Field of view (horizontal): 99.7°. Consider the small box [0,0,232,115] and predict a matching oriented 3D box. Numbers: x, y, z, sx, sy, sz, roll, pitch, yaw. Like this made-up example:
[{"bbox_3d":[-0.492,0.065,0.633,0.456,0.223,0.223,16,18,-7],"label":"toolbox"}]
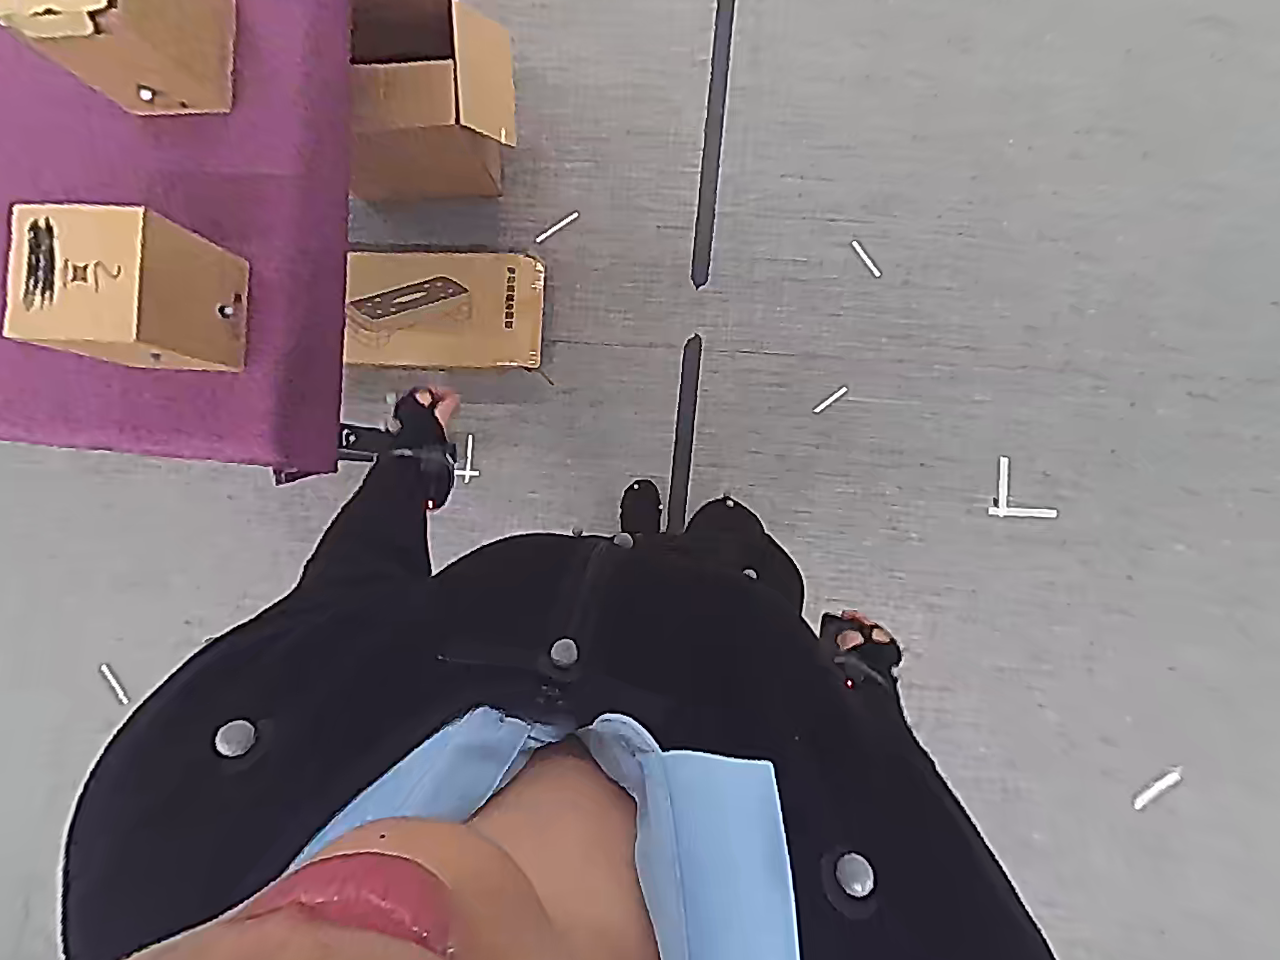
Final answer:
[{"bbox_3d":[-0.698,-0.639,0.735,0.168,0.176,0.179,2,89,6],"label":"small box"}]
